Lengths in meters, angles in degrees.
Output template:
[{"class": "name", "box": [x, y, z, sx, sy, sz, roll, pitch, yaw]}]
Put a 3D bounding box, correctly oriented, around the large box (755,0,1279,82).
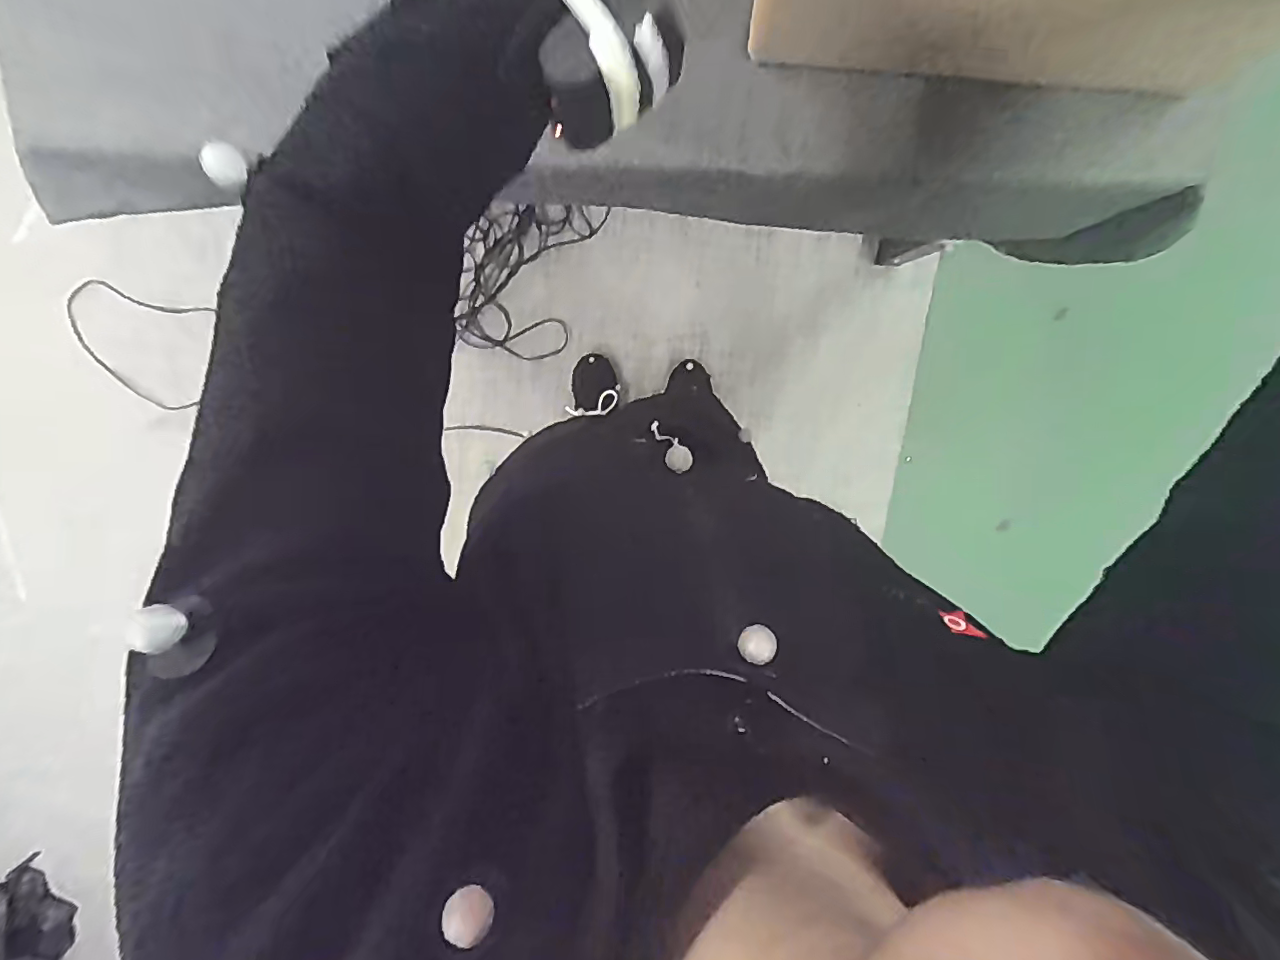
[{"class": "large box", "box": [0.301, -0.483, 0.314, 0.408, 0.320, 0.320, 6, 105, 3]}]
